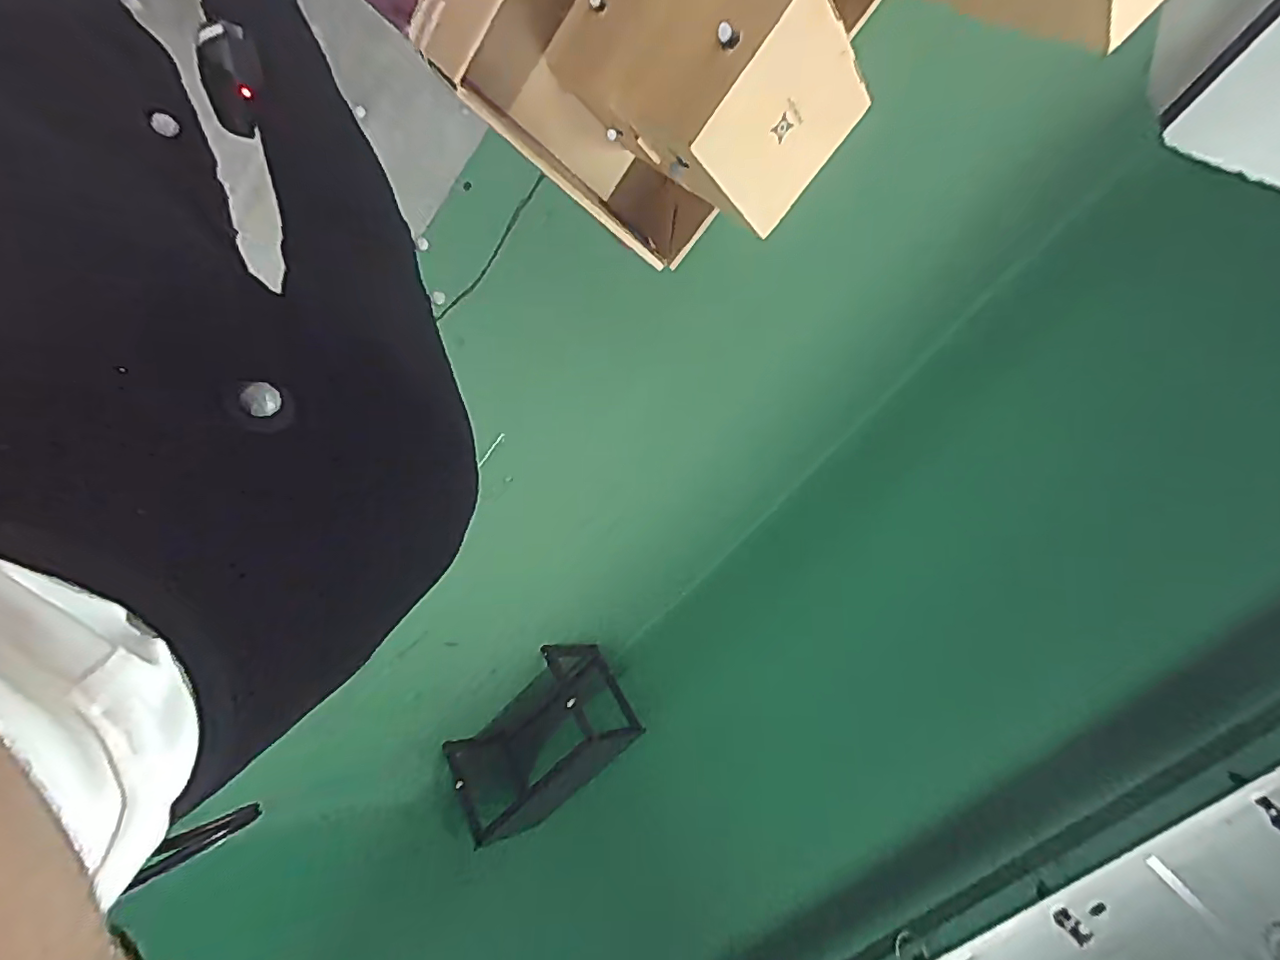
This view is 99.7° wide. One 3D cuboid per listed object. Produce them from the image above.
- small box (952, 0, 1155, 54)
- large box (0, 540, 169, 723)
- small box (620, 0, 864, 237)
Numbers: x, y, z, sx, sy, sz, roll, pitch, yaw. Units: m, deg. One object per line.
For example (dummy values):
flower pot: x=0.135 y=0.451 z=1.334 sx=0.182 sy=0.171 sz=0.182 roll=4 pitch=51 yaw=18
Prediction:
small box: x=0.364 y=-0.498 z=0.424 sx=0.179 sy=0.176 sz=0.168 roll=-48 pitch=145 yaw=19
large box: x=-1.700 y=0.432 z=1.585 sx=0.408 sy=0.320 sz=0.320 roll=-17 pitch=143 yaw=-30
small box: x=0.101 y=-0.415 z=0.594 sx=0.168 sy=0.176 sz=0.179 roll=17 pitch=118 yaw=-50
